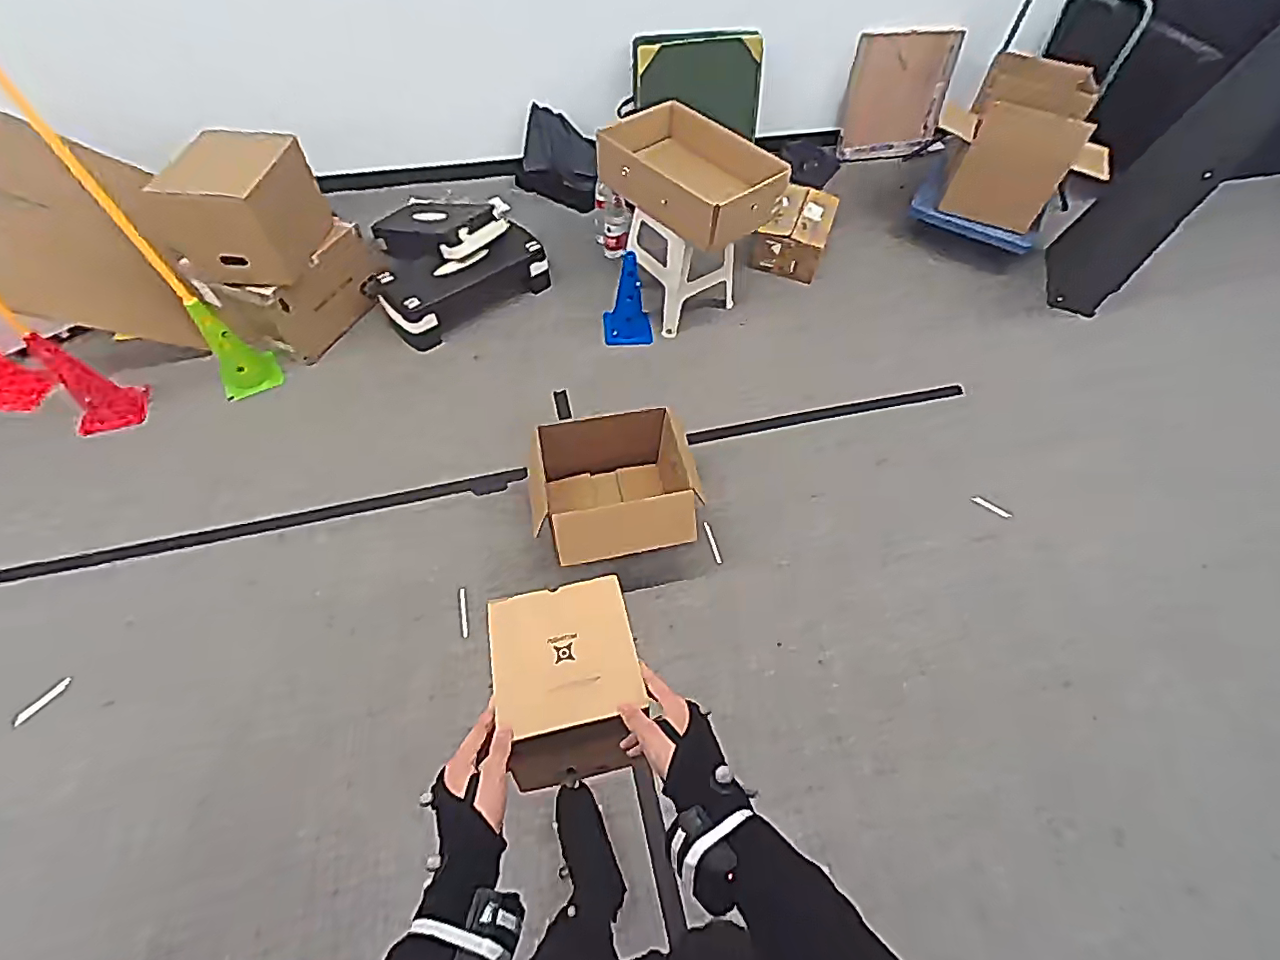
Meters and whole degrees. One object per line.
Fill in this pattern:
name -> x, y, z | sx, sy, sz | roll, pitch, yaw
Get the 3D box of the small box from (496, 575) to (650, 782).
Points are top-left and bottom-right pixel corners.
small box -> -0.087, 0.252, 0.692 | 0.168, 0.176, 0.179 | -9, 45, -9
